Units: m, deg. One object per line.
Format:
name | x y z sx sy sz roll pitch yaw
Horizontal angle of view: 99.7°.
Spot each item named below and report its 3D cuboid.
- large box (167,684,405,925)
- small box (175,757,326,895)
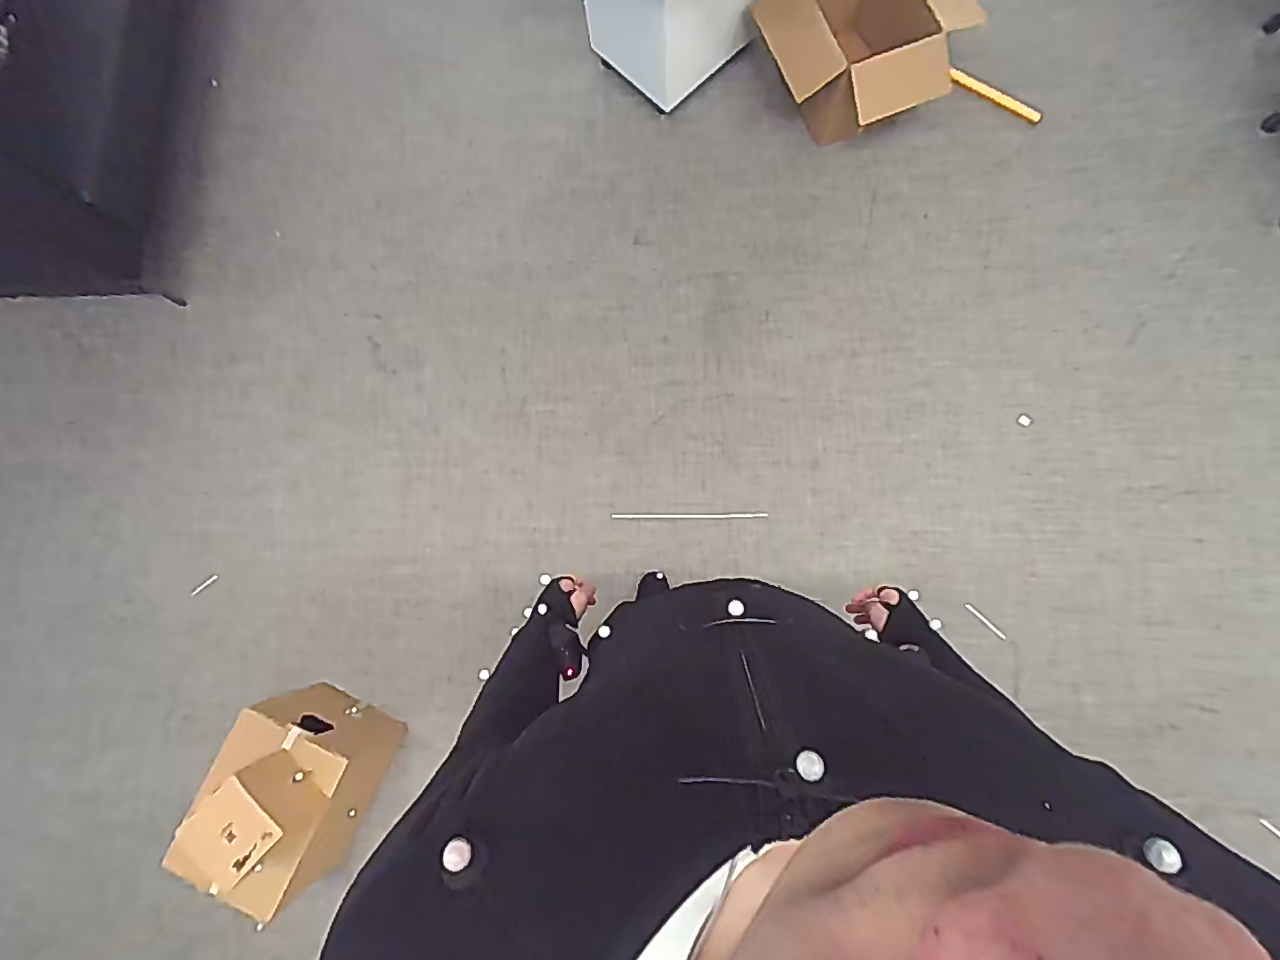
large box | -0.912 0.826 1.449 0.320 0.320 0.408 23 83 7
small box | -0.858 0.754 1.209 0.179 0.176 0.168 43 85 8
